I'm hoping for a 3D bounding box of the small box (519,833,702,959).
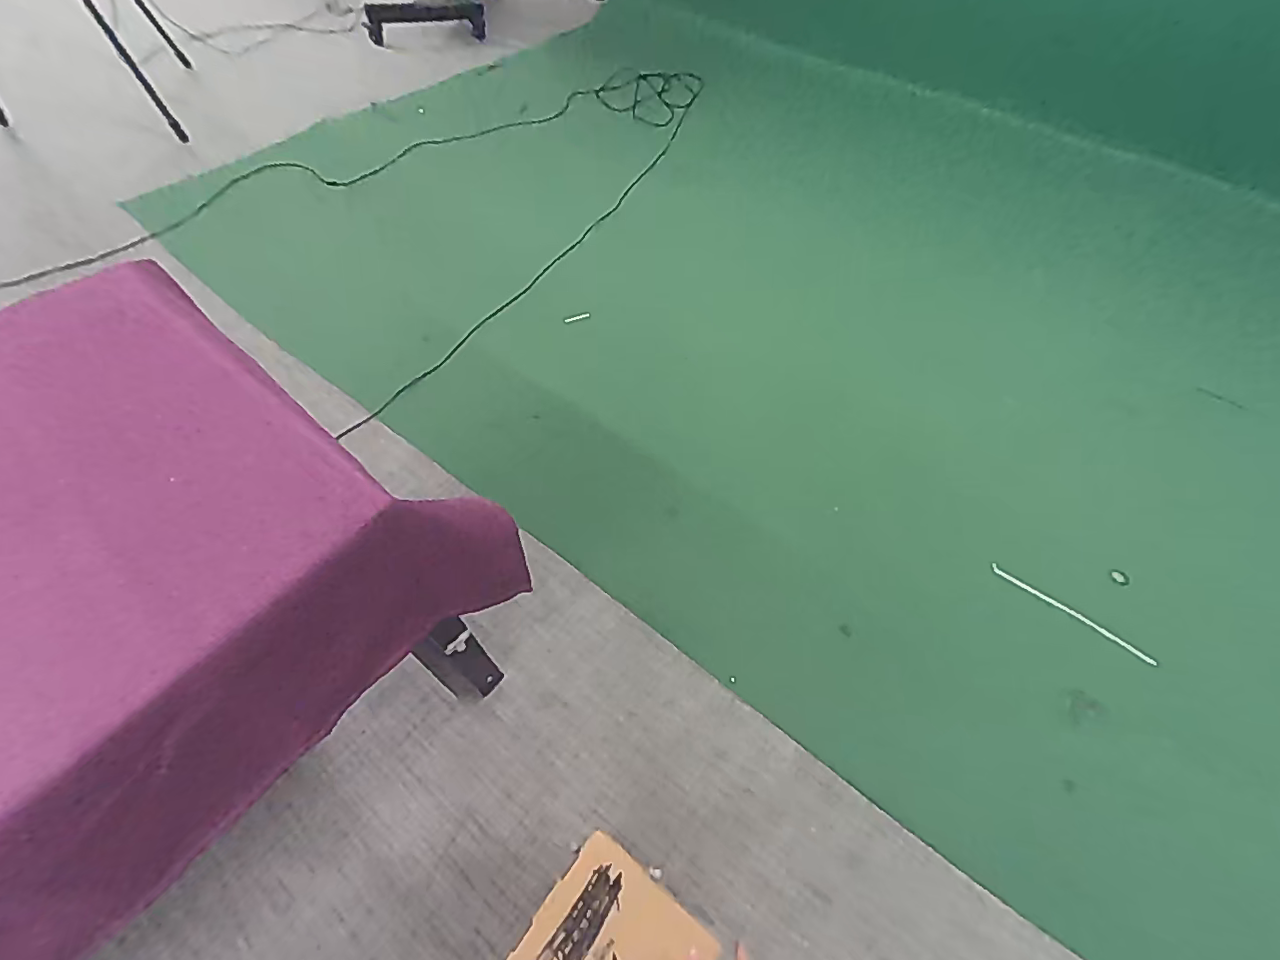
[{"bbox_3d":[-0.039,0.627,0.751,0.179,0.176,0.168,35,60,19],"label":"small box"}]
